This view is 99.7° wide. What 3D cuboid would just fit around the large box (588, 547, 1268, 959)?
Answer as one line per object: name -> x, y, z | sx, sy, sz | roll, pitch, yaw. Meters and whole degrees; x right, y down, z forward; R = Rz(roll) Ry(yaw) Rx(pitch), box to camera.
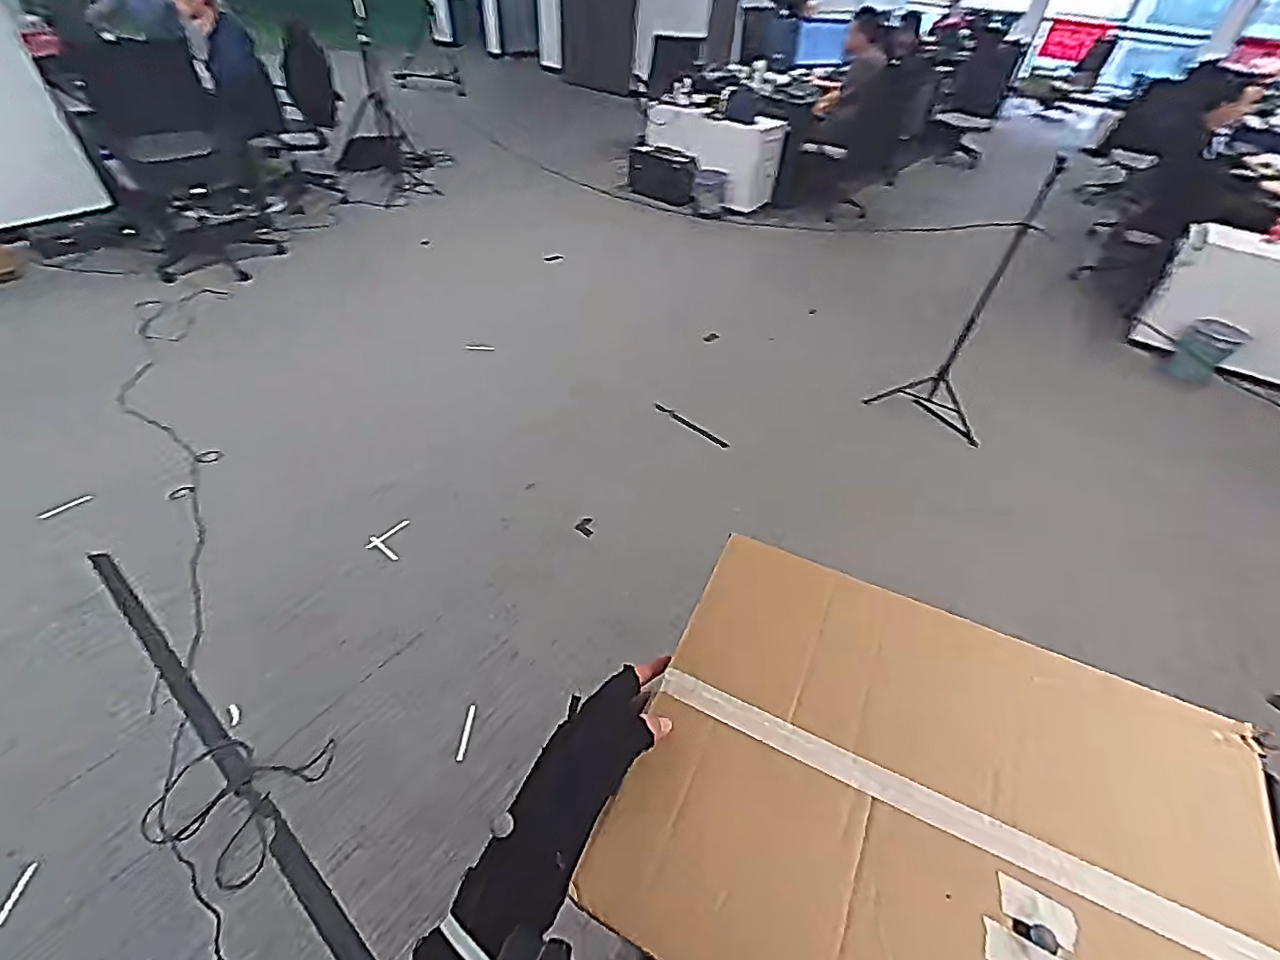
large box -> 0.209, 0.326, 0.505 | 0.408, 0.320, 0.320 | 20, 55, 18
